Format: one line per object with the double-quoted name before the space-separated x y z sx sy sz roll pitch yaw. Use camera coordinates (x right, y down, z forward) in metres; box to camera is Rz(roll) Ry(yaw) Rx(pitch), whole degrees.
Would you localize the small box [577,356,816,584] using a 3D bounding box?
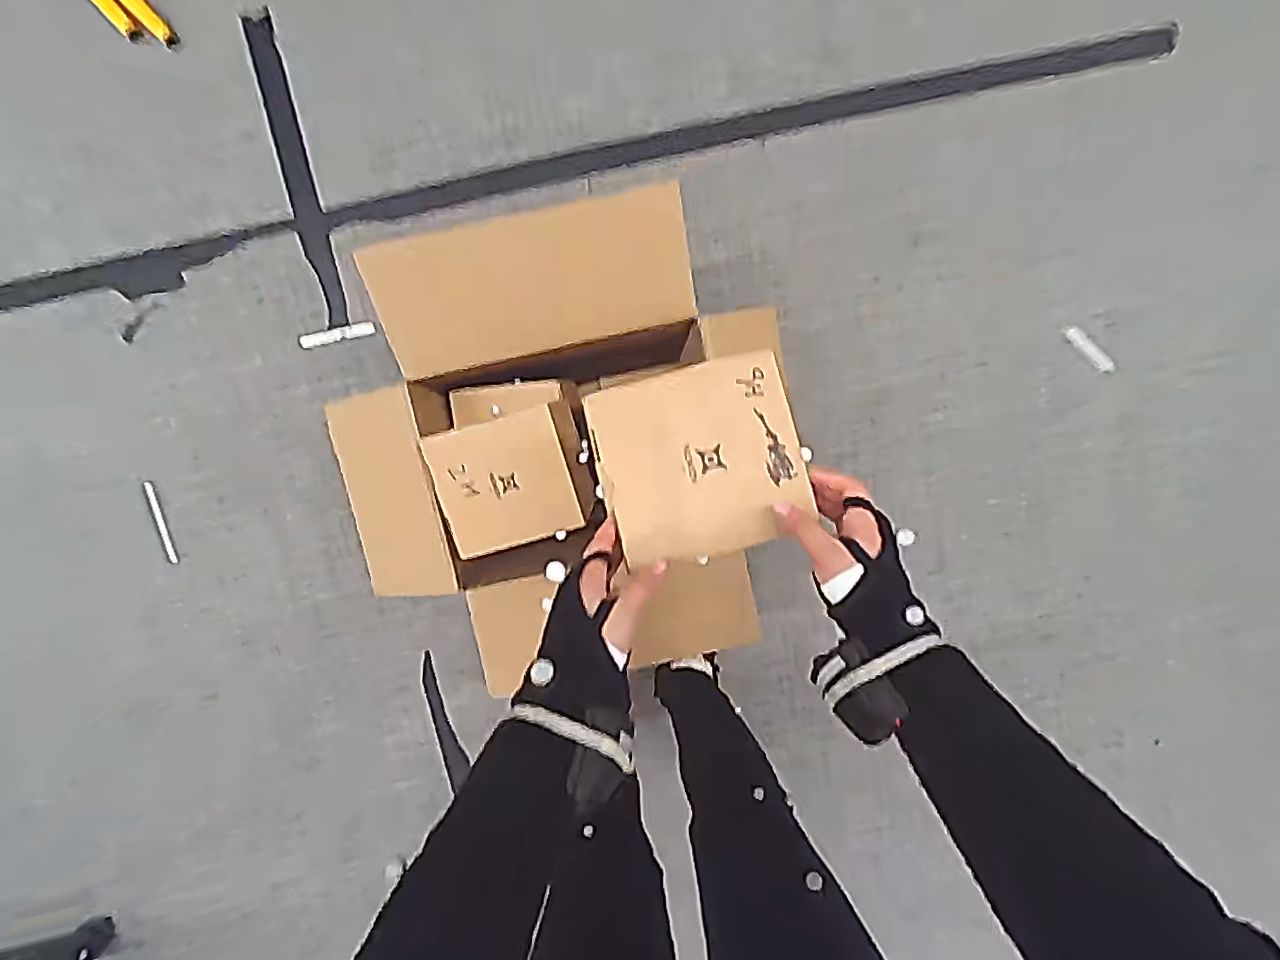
"small box" 0.050 -0.005 0.541 0.179 0.176 0.168 -14 88 1
